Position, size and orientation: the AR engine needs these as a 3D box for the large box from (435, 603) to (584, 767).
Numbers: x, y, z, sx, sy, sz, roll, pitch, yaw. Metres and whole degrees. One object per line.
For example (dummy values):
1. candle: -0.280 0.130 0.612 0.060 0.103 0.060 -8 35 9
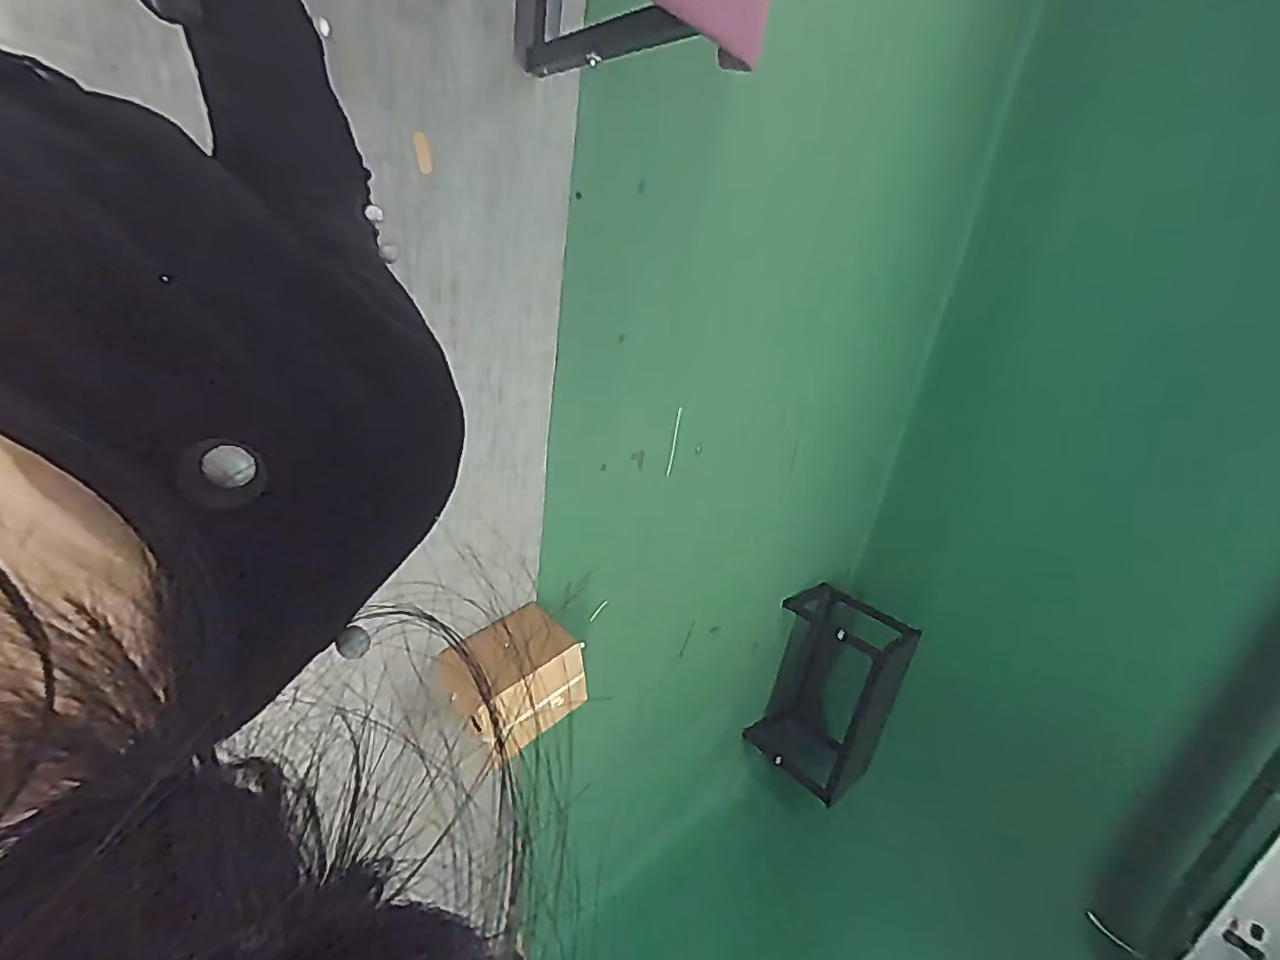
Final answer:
1. large box: -0.467 0.729 1.978 0.408 0.320 0.320 -27 128 -36
